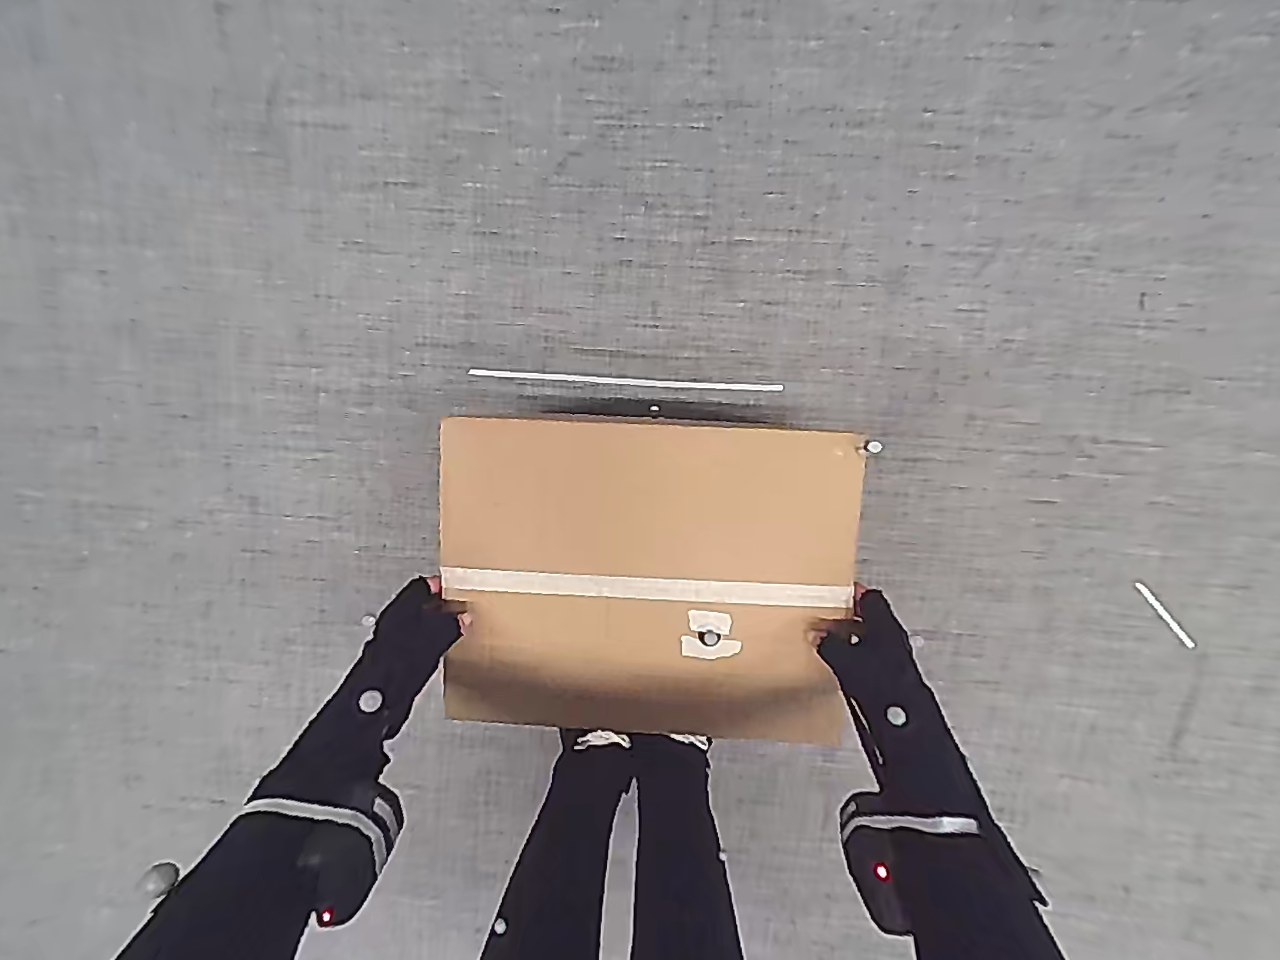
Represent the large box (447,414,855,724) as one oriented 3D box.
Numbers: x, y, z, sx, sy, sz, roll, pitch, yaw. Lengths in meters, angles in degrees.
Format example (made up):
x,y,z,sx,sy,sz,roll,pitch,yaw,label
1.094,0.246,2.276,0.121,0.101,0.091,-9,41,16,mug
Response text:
x,y,z,sx,sy,sz,roll,pitch,yaw,label
0.008,0.077,0.688,0.408,0.320,0.320,2,98,2,large box
